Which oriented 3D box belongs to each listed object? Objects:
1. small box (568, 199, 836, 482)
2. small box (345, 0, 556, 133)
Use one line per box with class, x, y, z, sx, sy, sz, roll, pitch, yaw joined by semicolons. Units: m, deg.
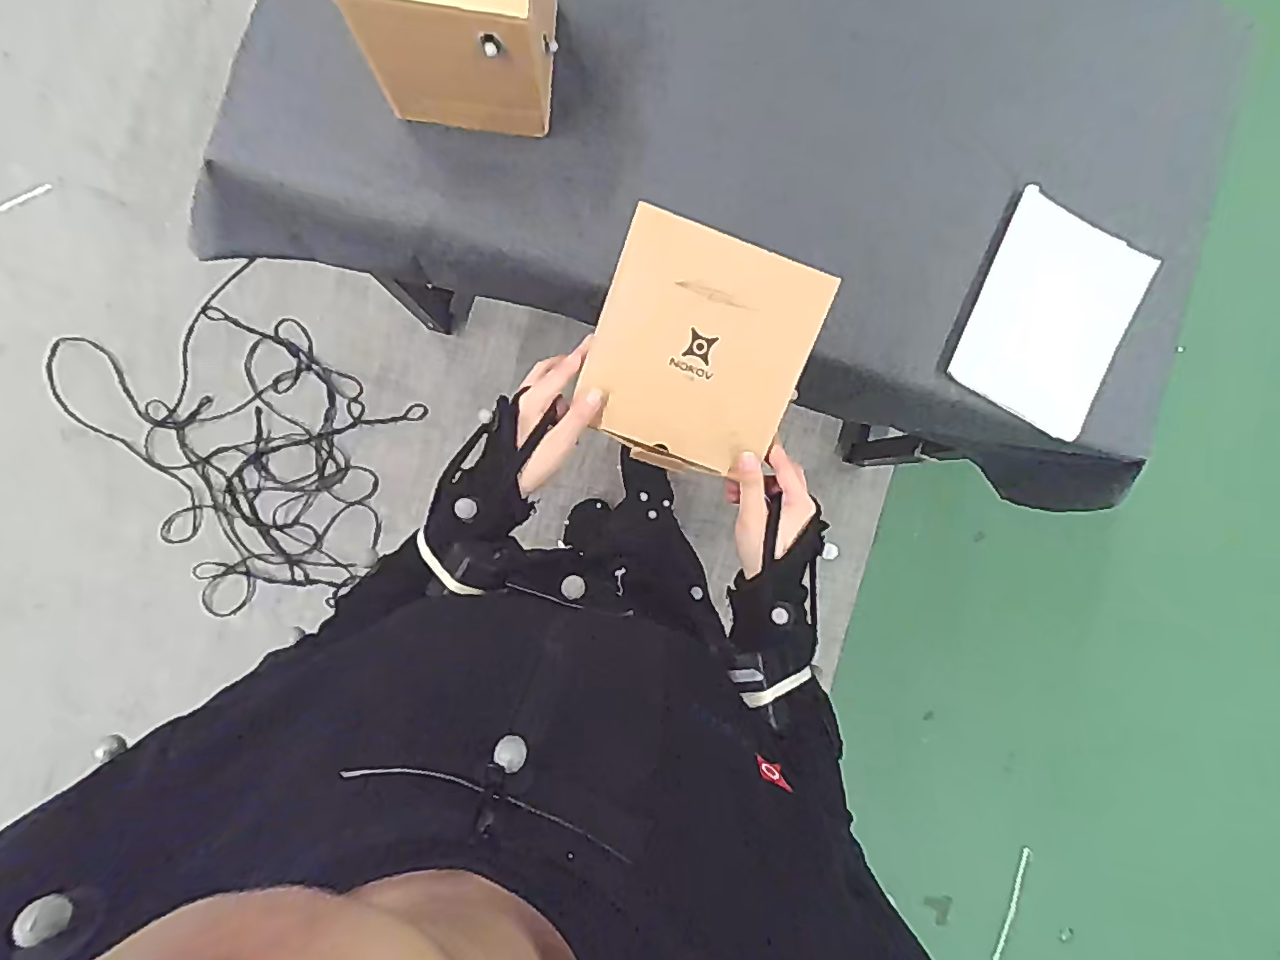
small box;0.048;-0.120;0.500;0.168;0.176;0.179;19;101;-3
small box;-0.184;-0.494;0.555;0.179;0.176;0.168;4;88;-6
